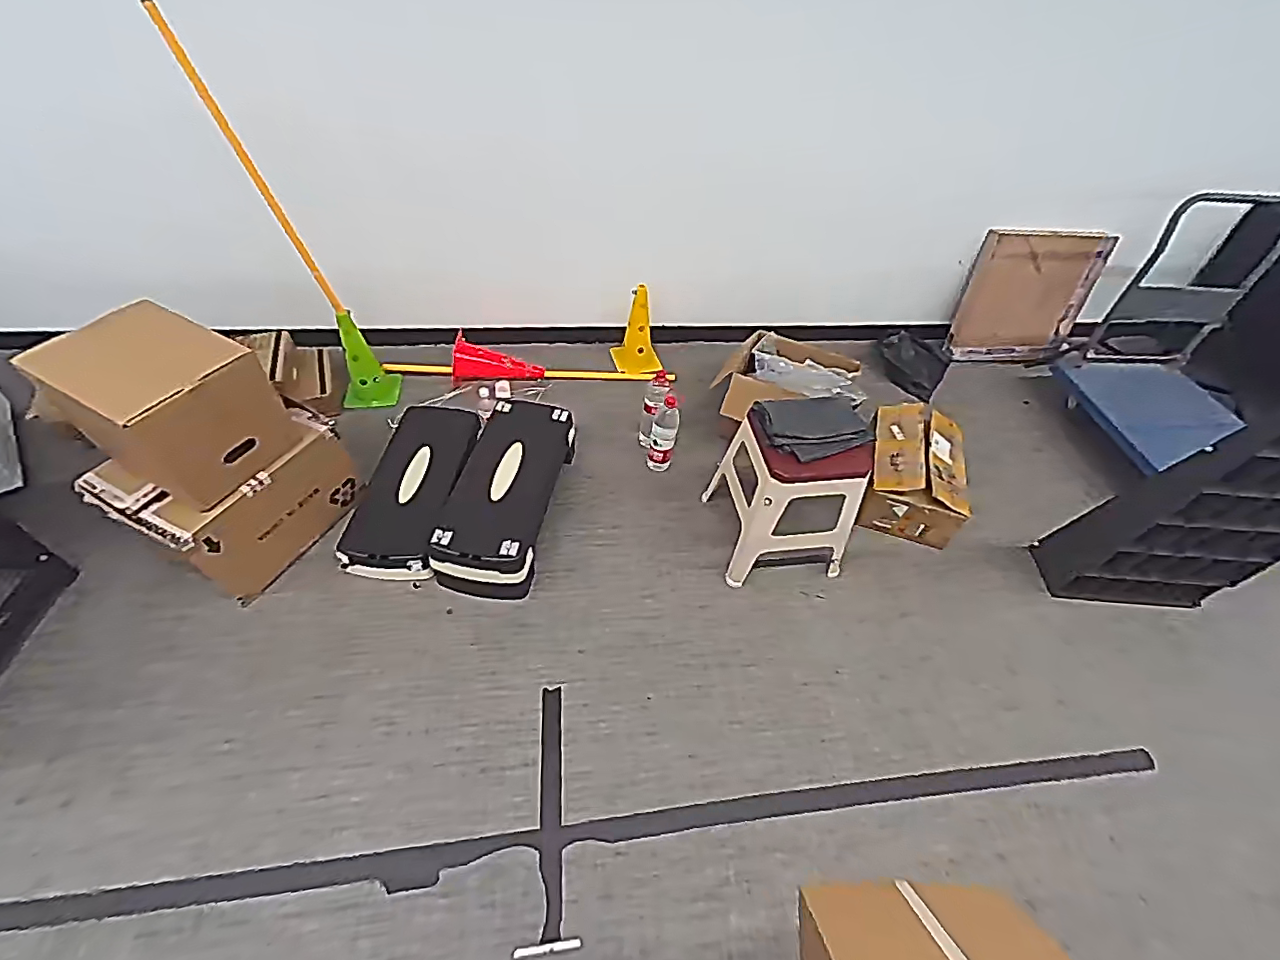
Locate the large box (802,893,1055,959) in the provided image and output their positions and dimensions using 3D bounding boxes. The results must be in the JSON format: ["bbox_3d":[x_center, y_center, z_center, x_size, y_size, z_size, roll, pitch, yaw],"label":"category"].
[{"bbox_3d":[0.393,0.768,0.615,0.320,0.408,0.320,1,84,1],"label":"large box"}]
